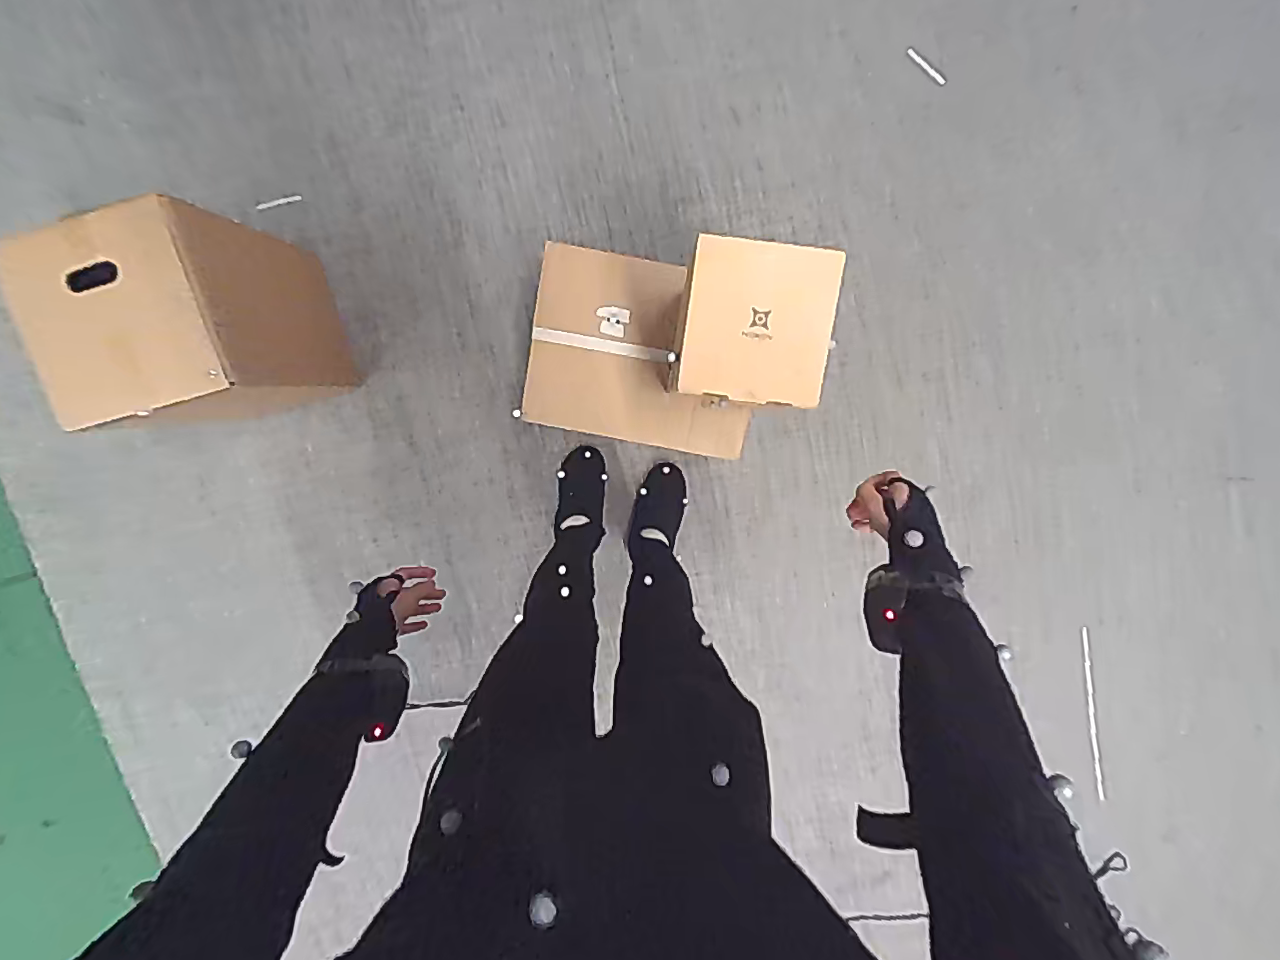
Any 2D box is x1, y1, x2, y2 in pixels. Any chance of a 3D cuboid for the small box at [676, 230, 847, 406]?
[{"bbox_3d":[0.138,-0.193,0.685,0.168,0.176,0.179,7,100,0],"label":"small box"}]
